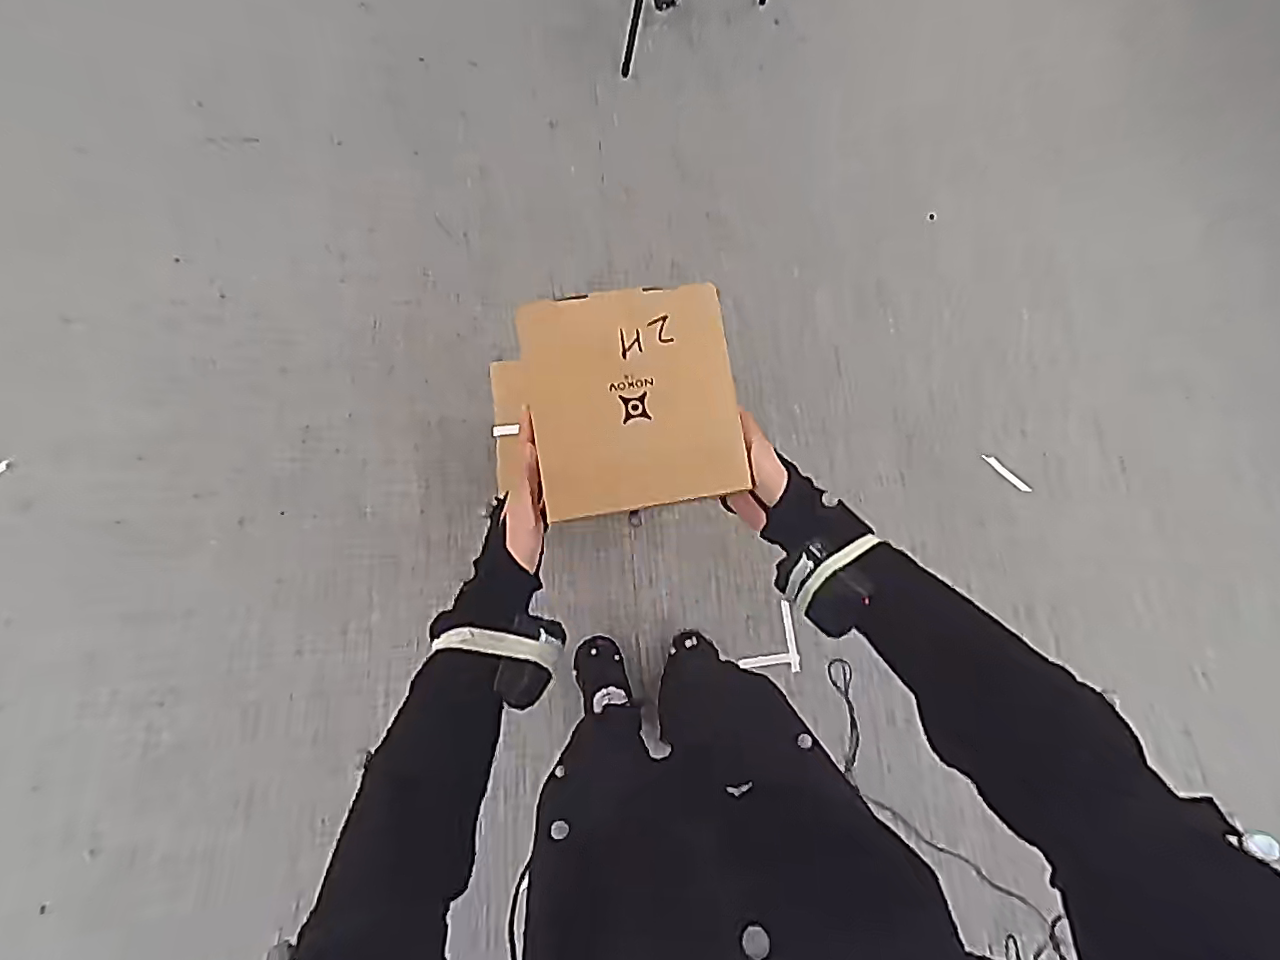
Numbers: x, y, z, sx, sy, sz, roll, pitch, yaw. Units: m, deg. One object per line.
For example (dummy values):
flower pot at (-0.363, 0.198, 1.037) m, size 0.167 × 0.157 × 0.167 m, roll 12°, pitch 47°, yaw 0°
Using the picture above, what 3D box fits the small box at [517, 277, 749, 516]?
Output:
small box at (-0.014, -0.064, 0.506) m, size 0.168 × 0.176 × 0.179 m, roll -9°, pitch 86°, yaw -9°
